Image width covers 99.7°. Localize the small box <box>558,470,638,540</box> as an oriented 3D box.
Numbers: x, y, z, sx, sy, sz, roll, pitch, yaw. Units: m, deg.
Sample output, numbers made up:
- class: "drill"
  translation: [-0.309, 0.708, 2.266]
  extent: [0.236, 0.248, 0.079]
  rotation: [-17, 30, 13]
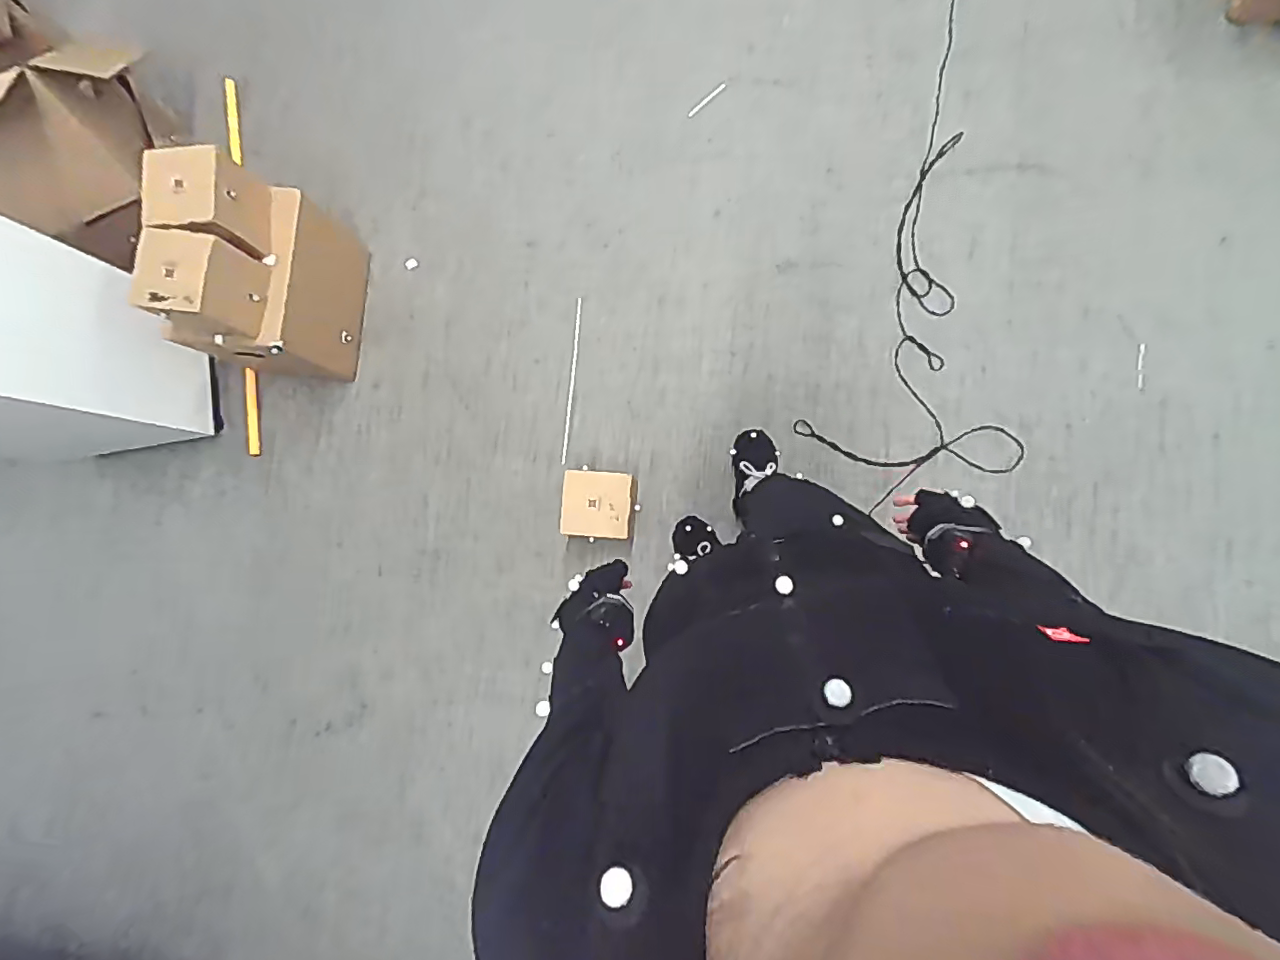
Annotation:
- class: "small box"
  translation: [-0.106, 0.068, 1.425]
  extent: [0.179, 0.176, 0.168]
  rotation: [4, 86, 5]
